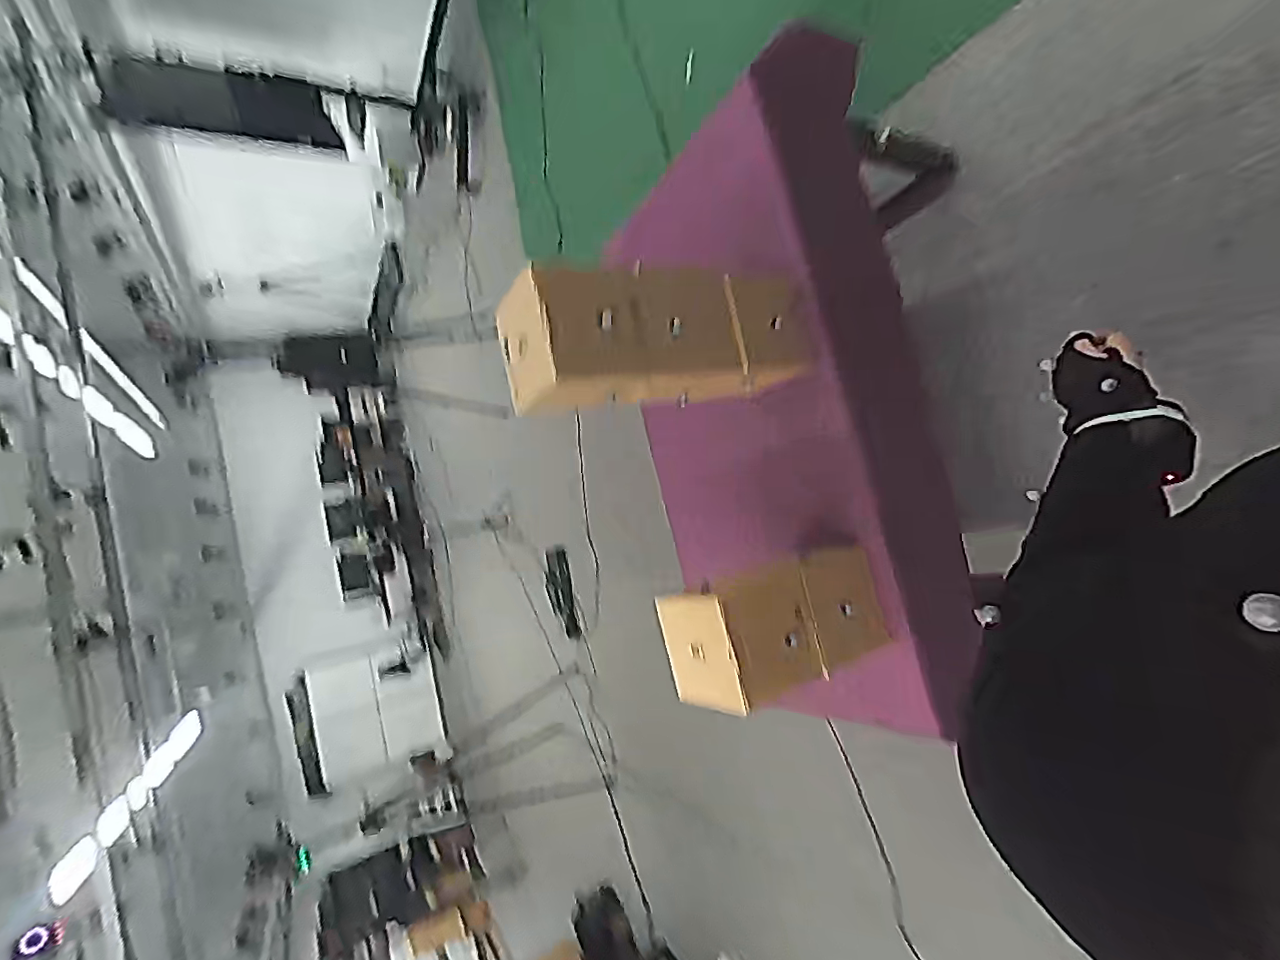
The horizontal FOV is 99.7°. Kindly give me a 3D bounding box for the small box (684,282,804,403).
[{"bbox_3d":[0.180,-0.248,0.995,0.179,0.176,0.168,-17,84,57],"label":"small box"}]

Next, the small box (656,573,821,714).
[{"bbox_3d":[0.156,0.253,0.873,0.179,0.176,0.168,-22,80,56],"label":"small box"}]

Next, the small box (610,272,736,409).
[{"bbox_3d":[0.040,-0.230,0.909,0.168,0.176,0.179,-16,85,57],"label":"small box"}]

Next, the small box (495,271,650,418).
[{"bbox_3d":[-0.099,-0.201,0.826,0.179,0.176,0.168,-16,85,56],"label":"small box"}]
